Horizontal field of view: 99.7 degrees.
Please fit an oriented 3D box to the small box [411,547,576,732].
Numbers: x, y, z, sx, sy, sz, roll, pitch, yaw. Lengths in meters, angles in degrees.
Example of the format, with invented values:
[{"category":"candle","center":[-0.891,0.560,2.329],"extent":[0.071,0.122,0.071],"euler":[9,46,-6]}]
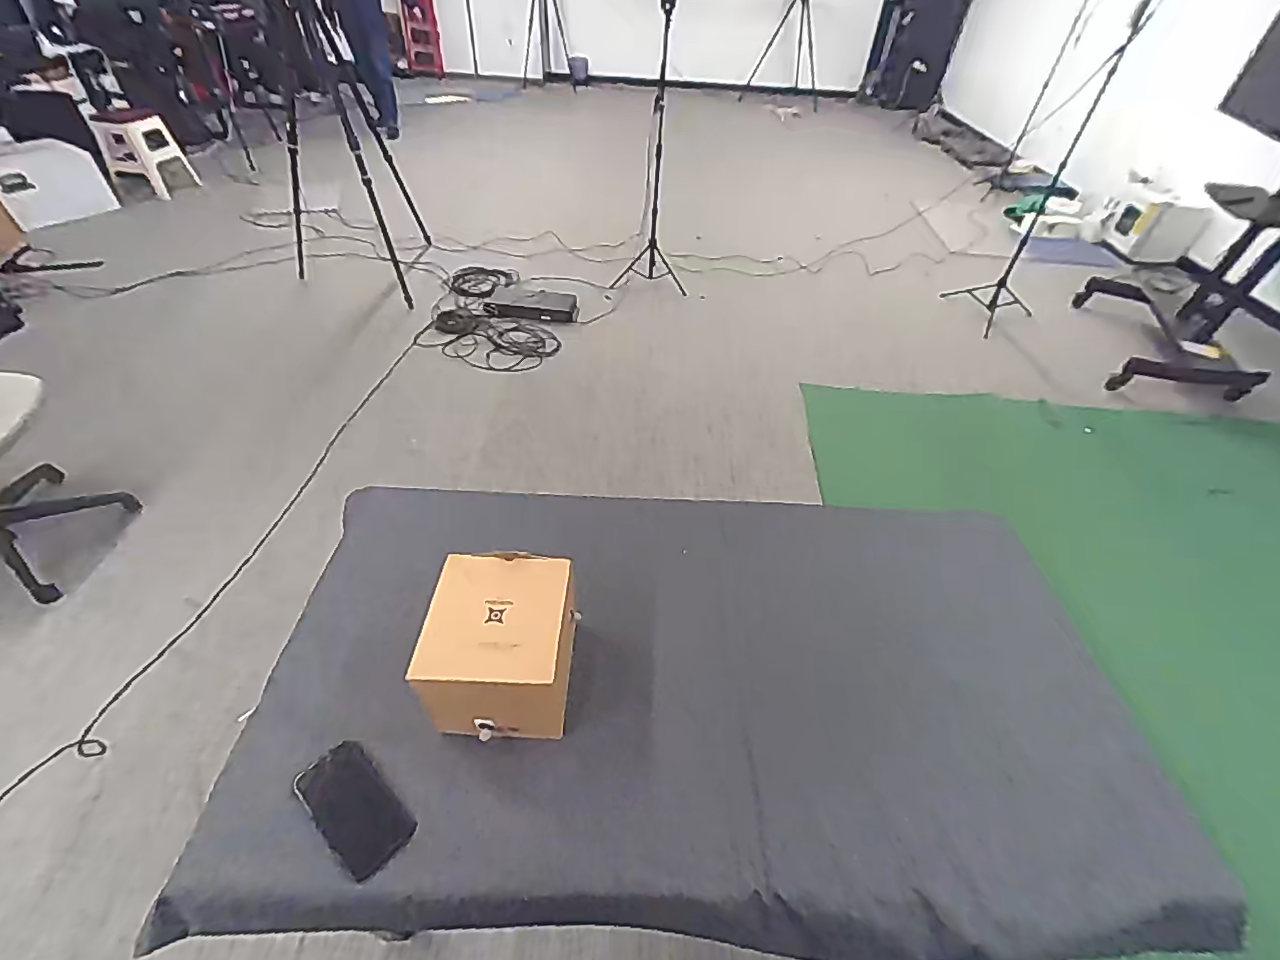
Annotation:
[{"category":"small box","center":[-0.176,0.211,0.718],"extent":[0.168,0.176,0.179],"euler":[2,46,0]}]
